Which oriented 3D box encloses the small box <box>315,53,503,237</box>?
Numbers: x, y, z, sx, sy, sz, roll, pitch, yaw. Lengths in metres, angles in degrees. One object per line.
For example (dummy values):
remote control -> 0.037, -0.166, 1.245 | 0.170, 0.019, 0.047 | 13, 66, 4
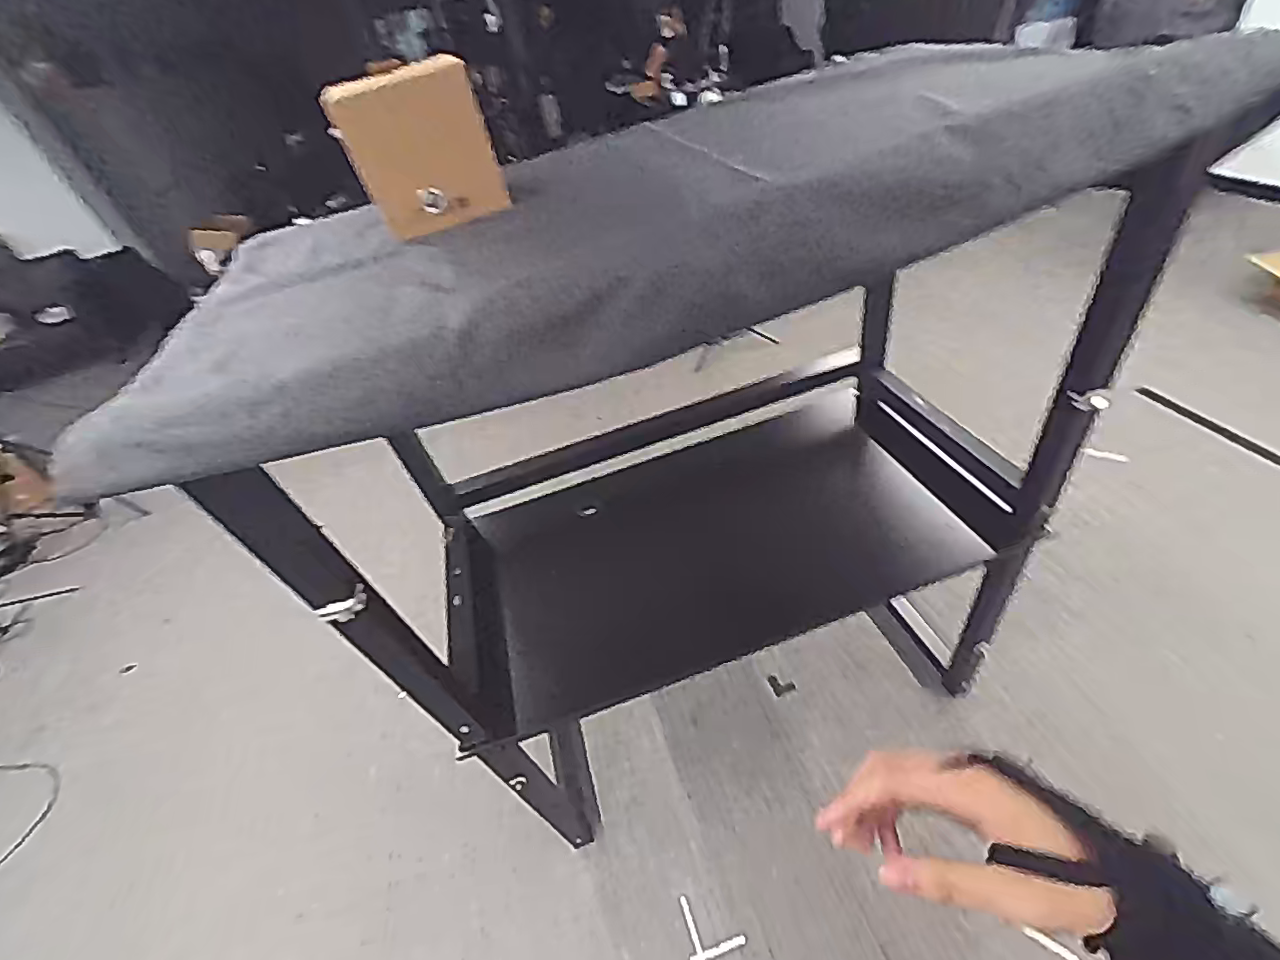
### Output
small box -> -0.303, -0.449, 0.729 | 0.168, 0.176, 0.179 | -24, 43, -8
